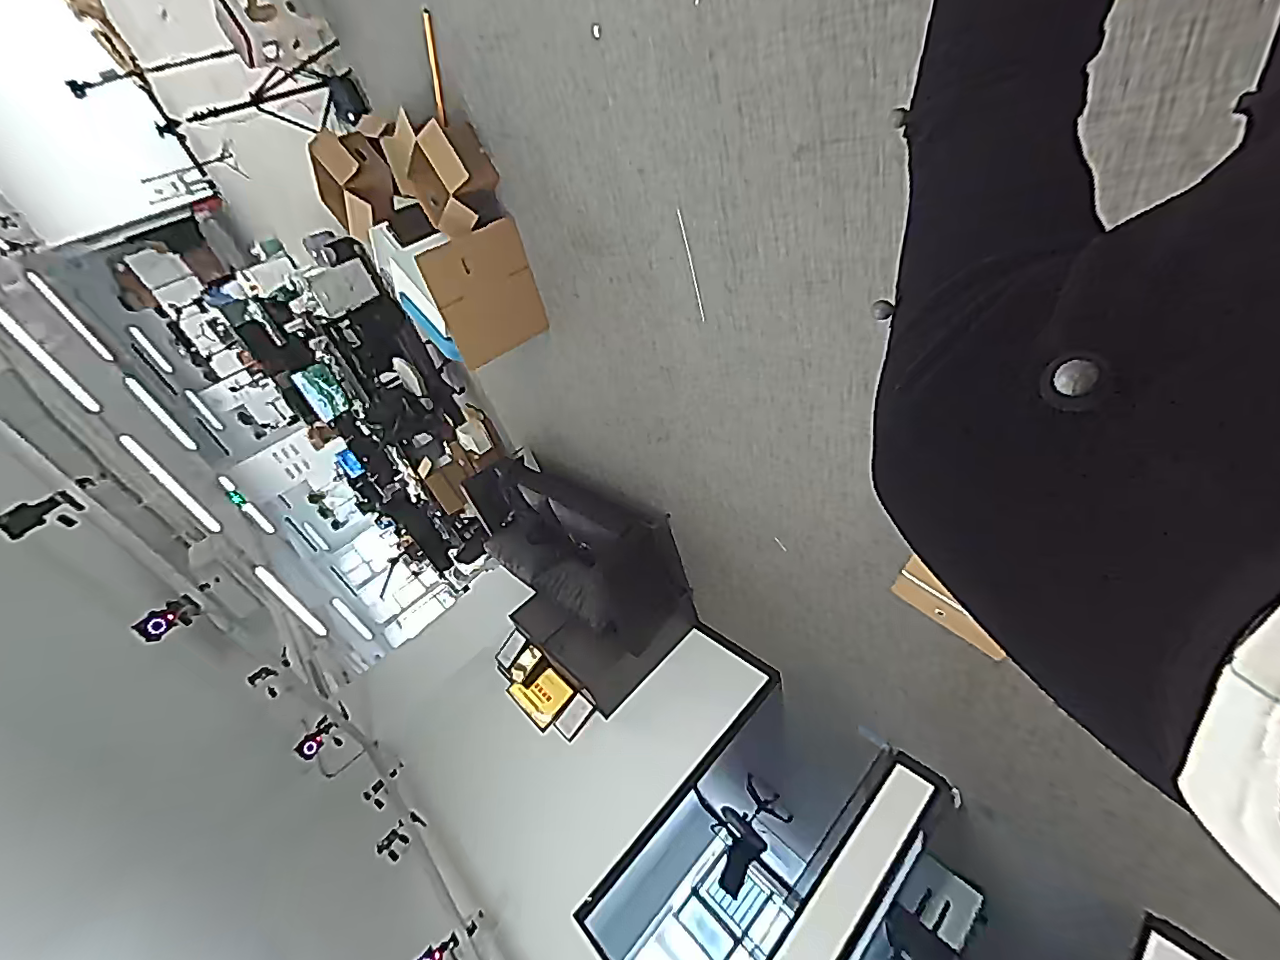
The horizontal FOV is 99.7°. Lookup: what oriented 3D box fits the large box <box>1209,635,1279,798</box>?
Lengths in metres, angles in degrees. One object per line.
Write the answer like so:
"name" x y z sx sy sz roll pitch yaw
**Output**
"large box" 1.798 0.619 1.359 0.320 0.320 0.408 53 154 -7
